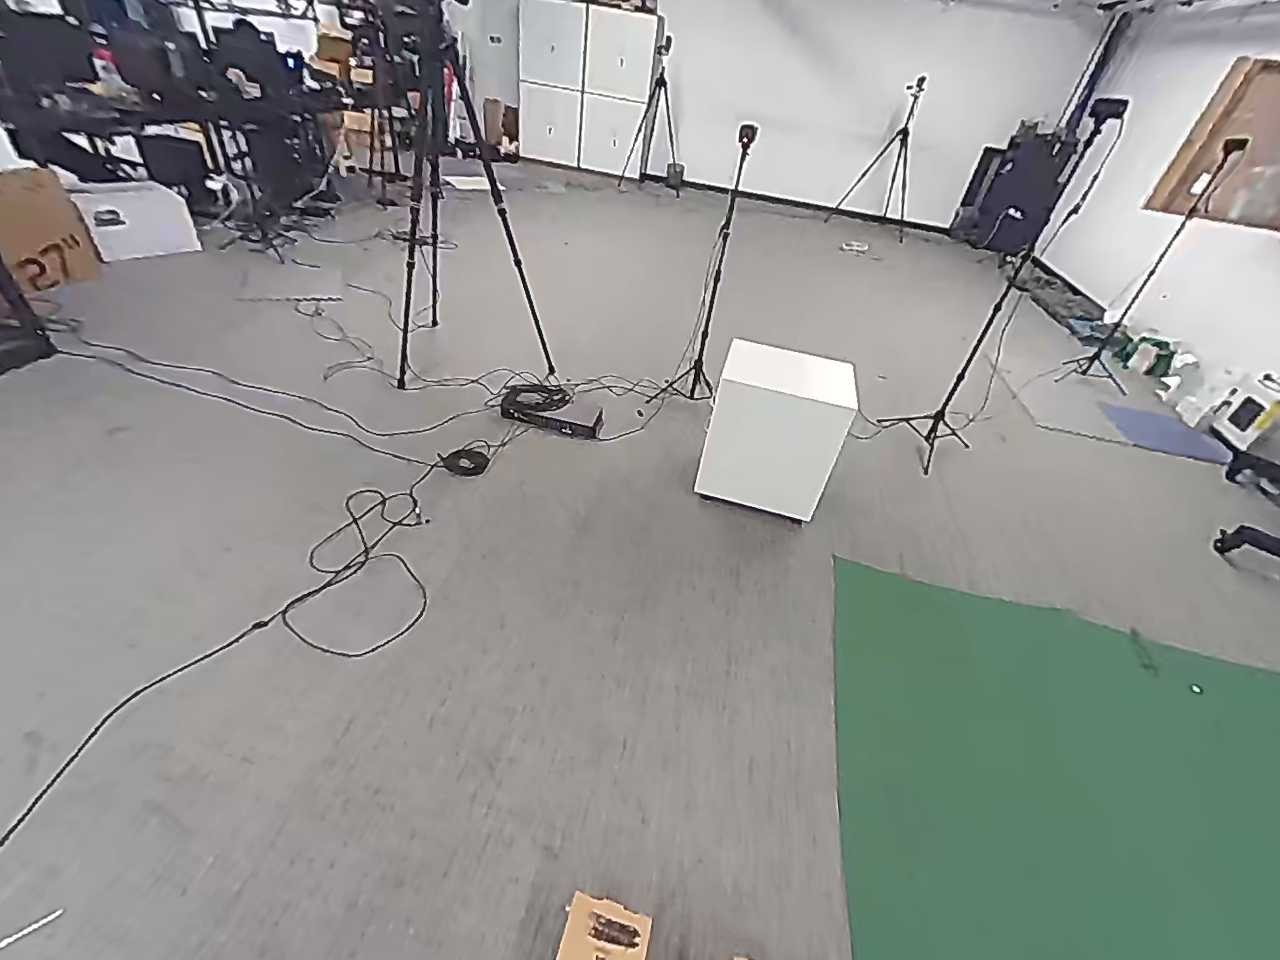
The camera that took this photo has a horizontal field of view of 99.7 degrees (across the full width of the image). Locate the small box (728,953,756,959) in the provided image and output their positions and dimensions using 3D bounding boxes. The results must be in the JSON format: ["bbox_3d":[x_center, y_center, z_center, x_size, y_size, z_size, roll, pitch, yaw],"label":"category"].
[{"bbox_3d":[0.233,1.053,1.030,0.168,0.176,0.179,15,39,5],"label":"small box"}]
